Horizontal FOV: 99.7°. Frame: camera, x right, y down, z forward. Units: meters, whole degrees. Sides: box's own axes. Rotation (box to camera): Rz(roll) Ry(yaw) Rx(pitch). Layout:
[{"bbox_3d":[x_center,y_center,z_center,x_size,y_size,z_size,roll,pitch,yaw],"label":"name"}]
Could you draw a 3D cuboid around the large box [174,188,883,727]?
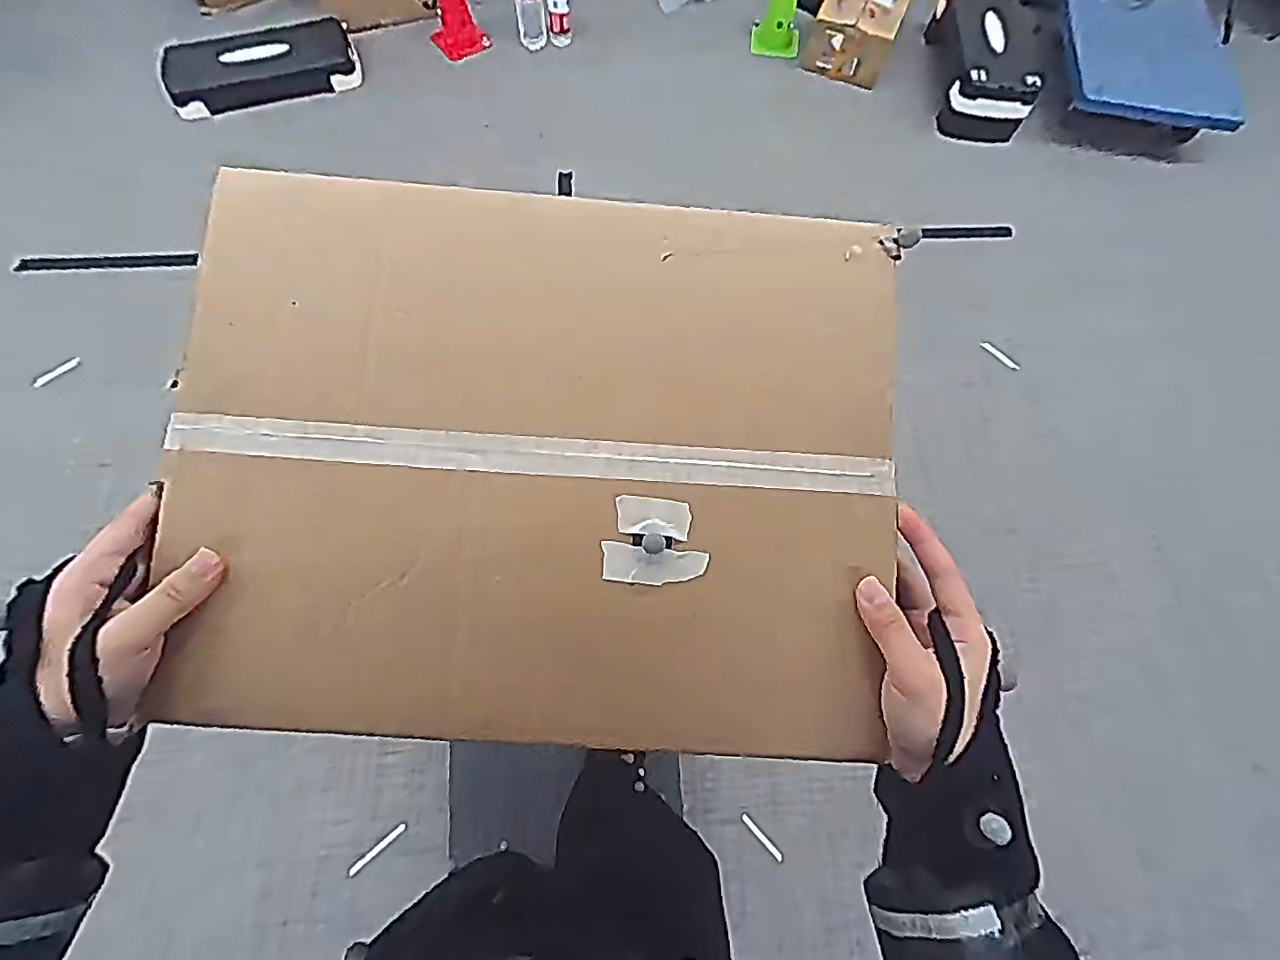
[{"bbox_3d":[-0.060,-0.002,0.469,0.408,0.320,0.320,4,84,-2],"label":"large box"}]
